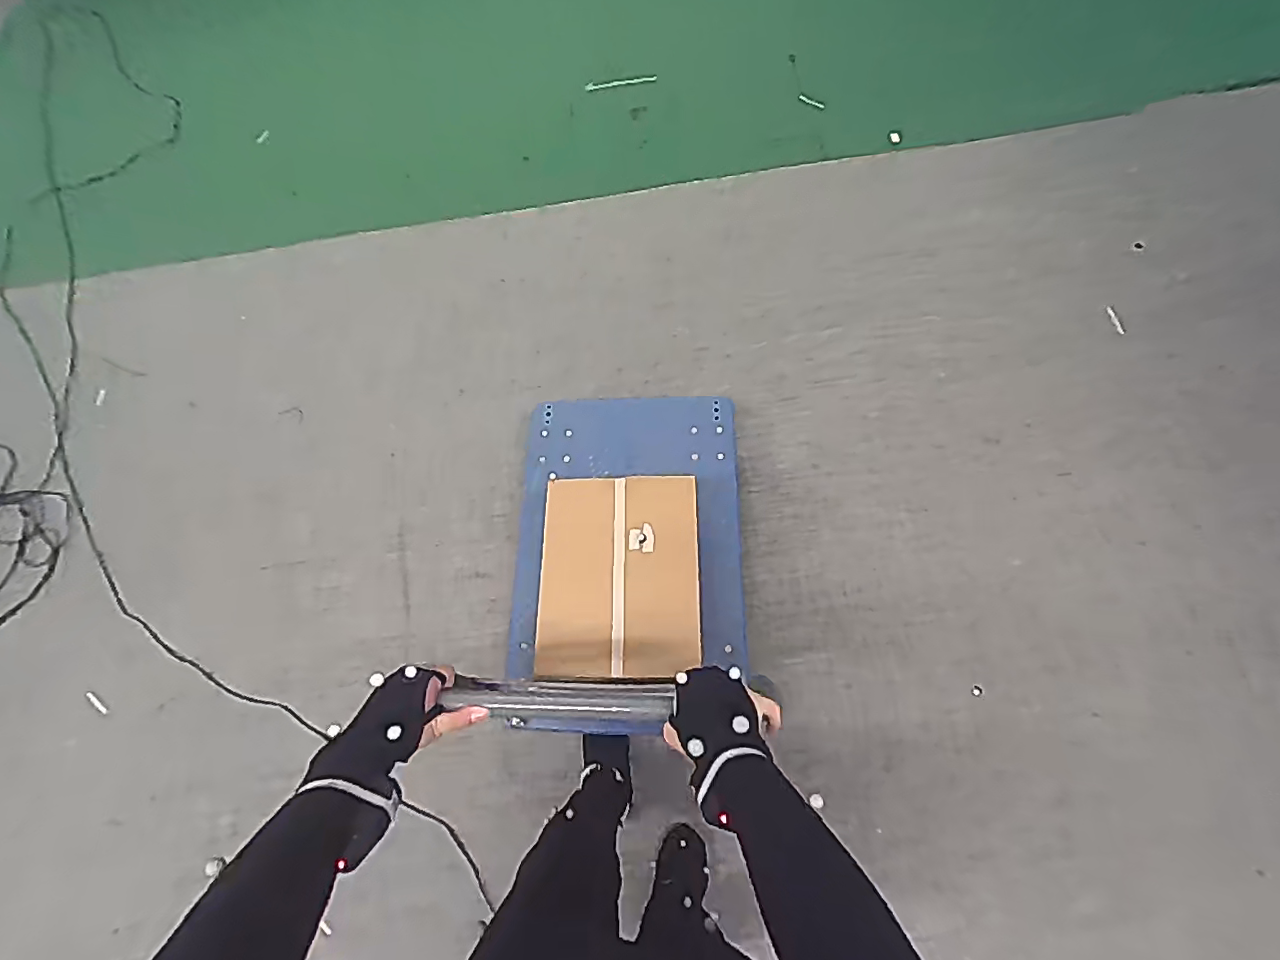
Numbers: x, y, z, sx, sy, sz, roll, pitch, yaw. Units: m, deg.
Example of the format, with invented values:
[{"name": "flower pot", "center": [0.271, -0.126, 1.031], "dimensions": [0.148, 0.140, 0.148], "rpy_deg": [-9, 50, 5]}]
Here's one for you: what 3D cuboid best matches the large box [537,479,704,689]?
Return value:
[{"name": "large box", "center": [-0.026, 0.243, 1.200], "dimensions": [0.320, 0.320, 0.408], "rpy_deg": [-1, 67, 4]}]
